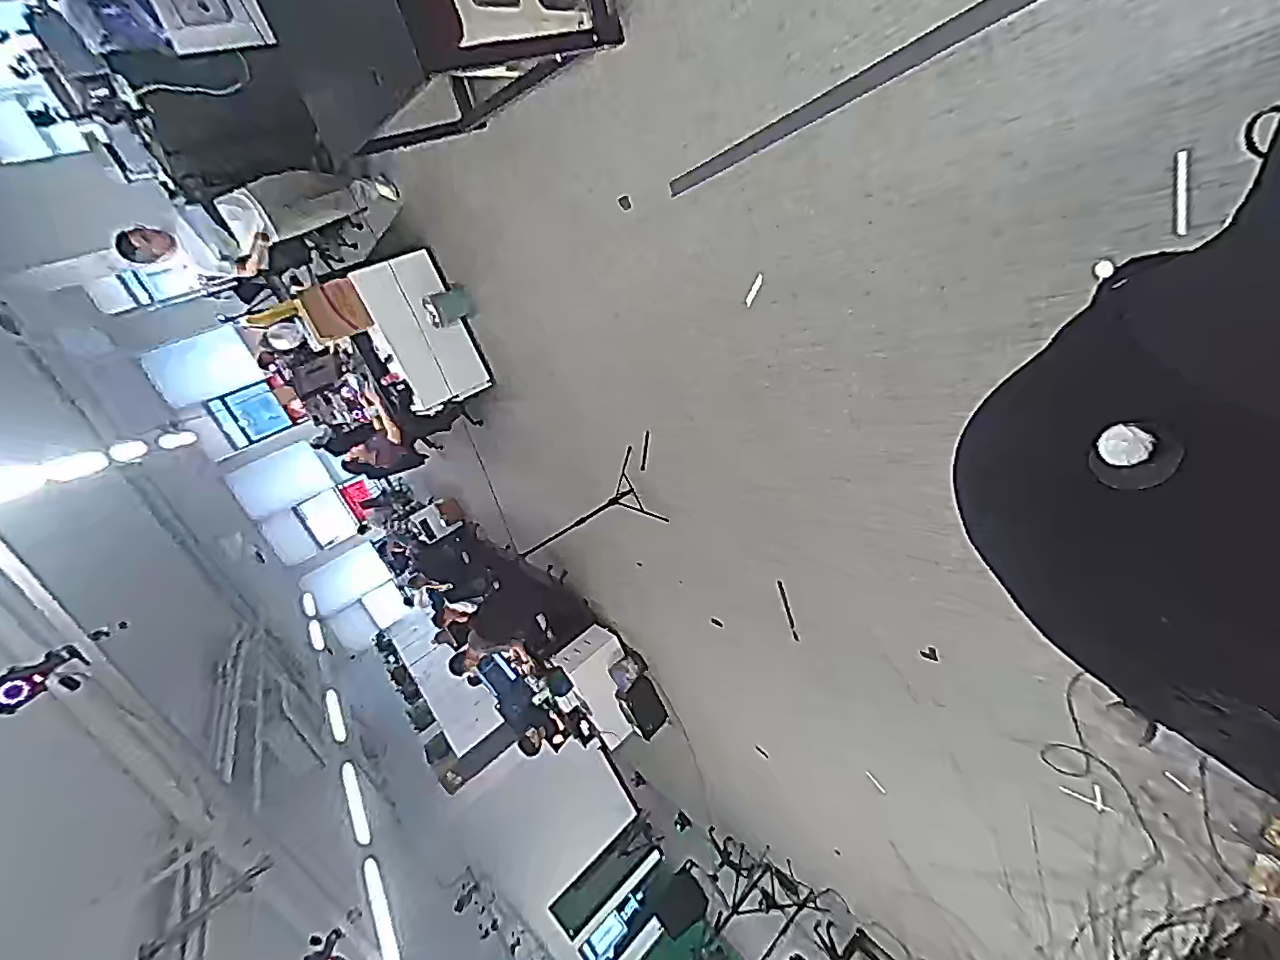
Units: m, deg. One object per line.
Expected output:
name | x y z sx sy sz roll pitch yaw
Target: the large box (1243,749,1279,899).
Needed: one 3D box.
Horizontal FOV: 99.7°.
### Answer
large box | 1.664 0.817 1.174 0.408 0.320 0.320 18 134 49
